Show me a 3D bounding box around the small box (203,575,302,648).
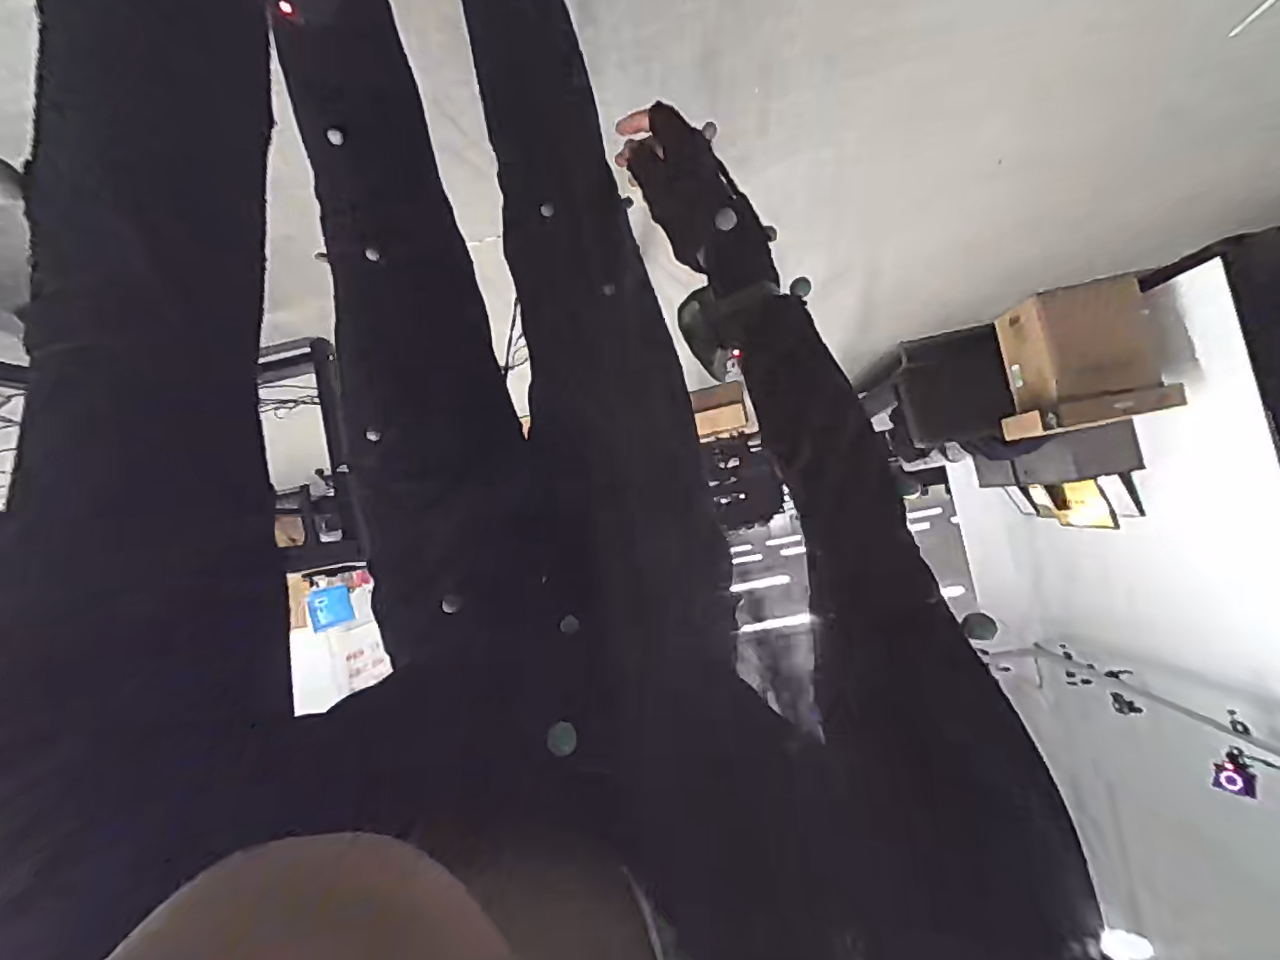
[{"bbox_3d":[-1.100,0.368,1.528,0.179,0.176,0.168,-11,176,5],"label":"small box"}]
